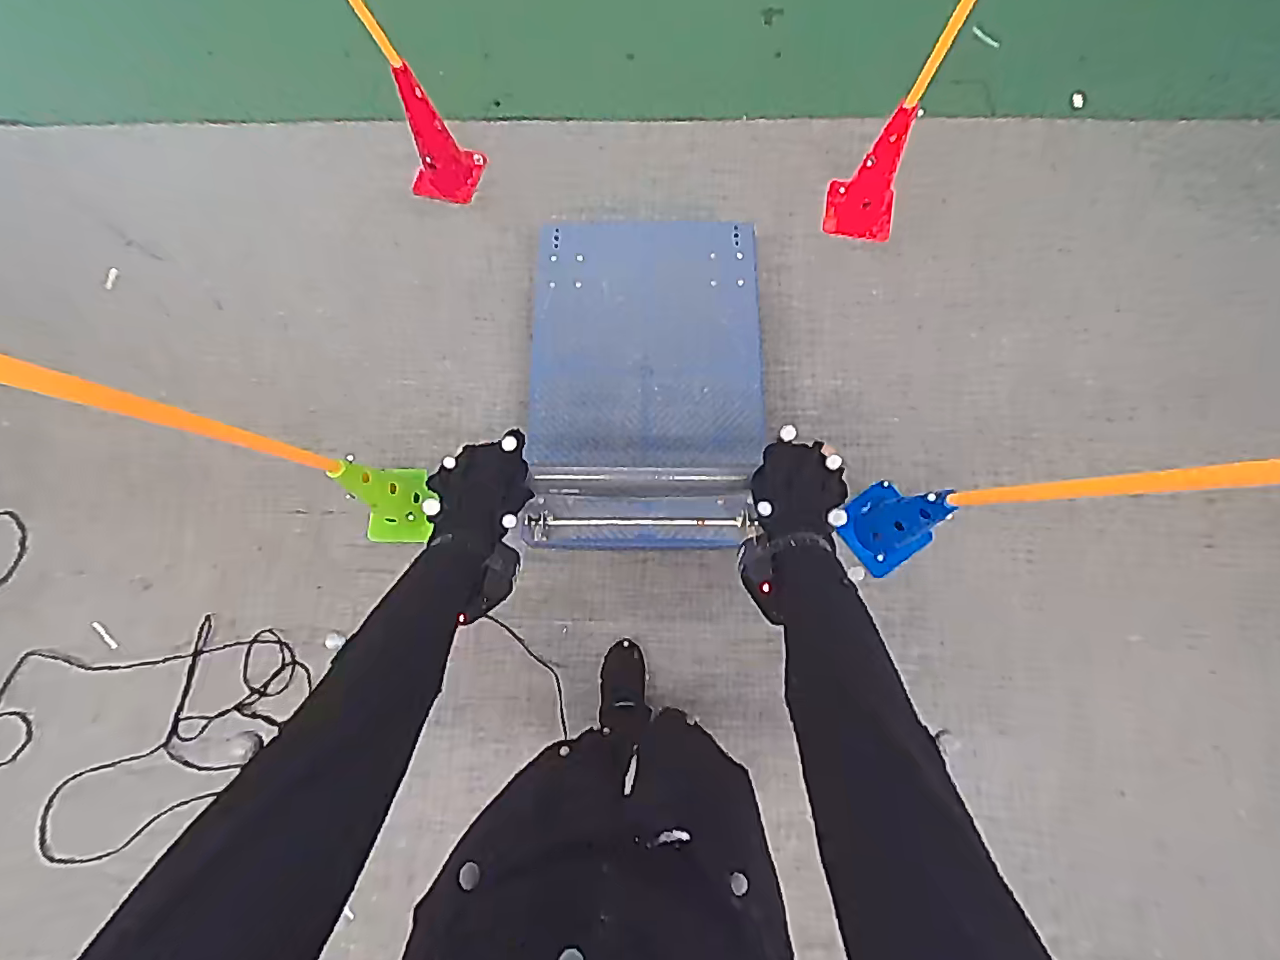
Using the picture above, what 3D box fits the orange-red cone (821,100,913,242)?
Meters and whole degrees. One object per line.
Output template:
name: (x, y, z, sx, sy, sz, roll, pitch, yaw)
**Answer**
orange-red cone: (0.653, -0.861, 1.478, 0.198, 0.360, 0.199, 12, 77, 6)
